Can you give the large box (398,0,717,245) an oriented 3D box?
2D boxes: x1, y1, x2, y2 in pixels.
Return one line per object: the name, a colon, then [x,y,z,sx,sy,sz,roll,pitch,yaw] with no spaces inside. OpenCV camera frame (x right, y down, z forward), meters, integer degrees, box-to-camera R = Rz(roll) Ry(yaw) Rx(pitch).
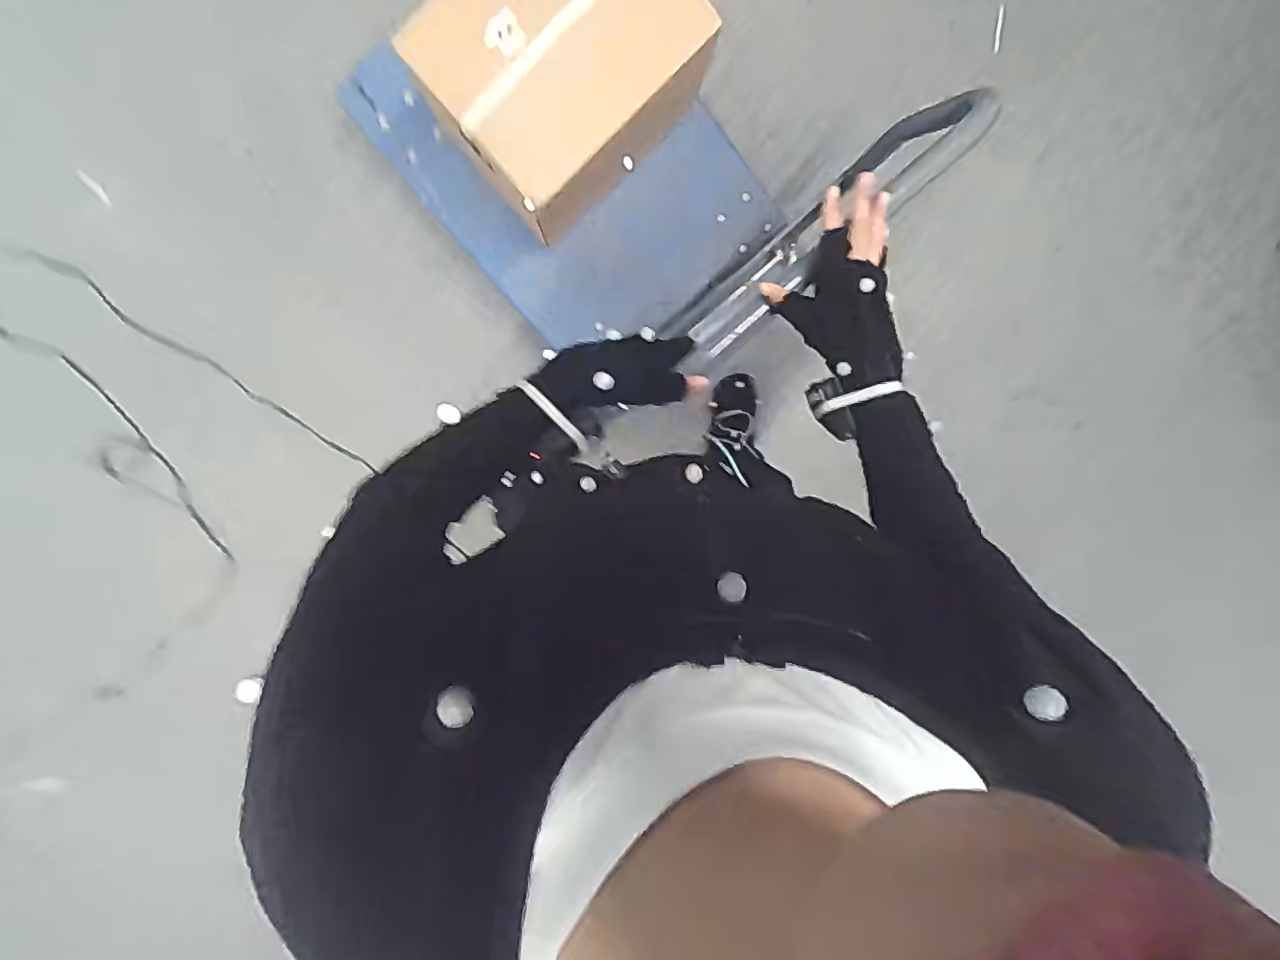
large box: [-0.131,-0.708,0.970,0.408,0.320,0.320,-42,101,5]
